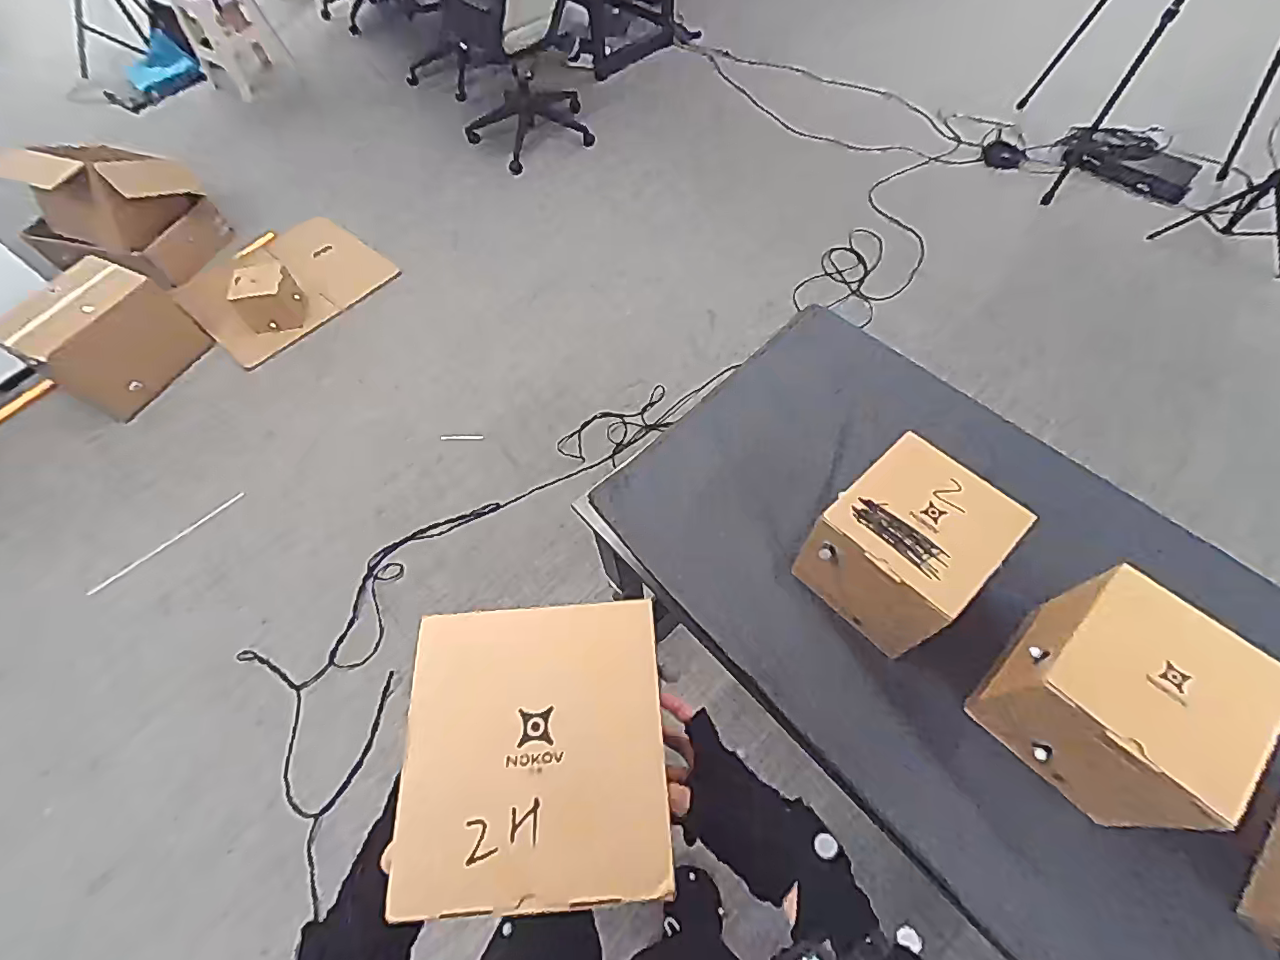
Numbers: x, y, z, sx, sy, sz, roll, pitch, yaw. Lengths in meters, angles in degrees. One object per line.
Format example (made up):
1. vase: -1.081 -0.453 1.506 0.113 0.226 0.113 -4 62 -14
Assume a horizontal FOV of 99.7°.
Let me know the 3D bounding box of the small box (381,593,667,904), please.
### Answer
1. small box: -0.070 0.201 0.418 0.168 0.176 0.179 -4 60 -1

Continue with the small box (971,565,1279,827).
1. small box: 0.500 0.229 0.578 0.179 0.176 0.168 -40 65 -19

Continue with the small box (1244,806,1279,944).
1. small box: 0.705 0.389 0.467 0.179 0.176 0.168 -40 65 -20
